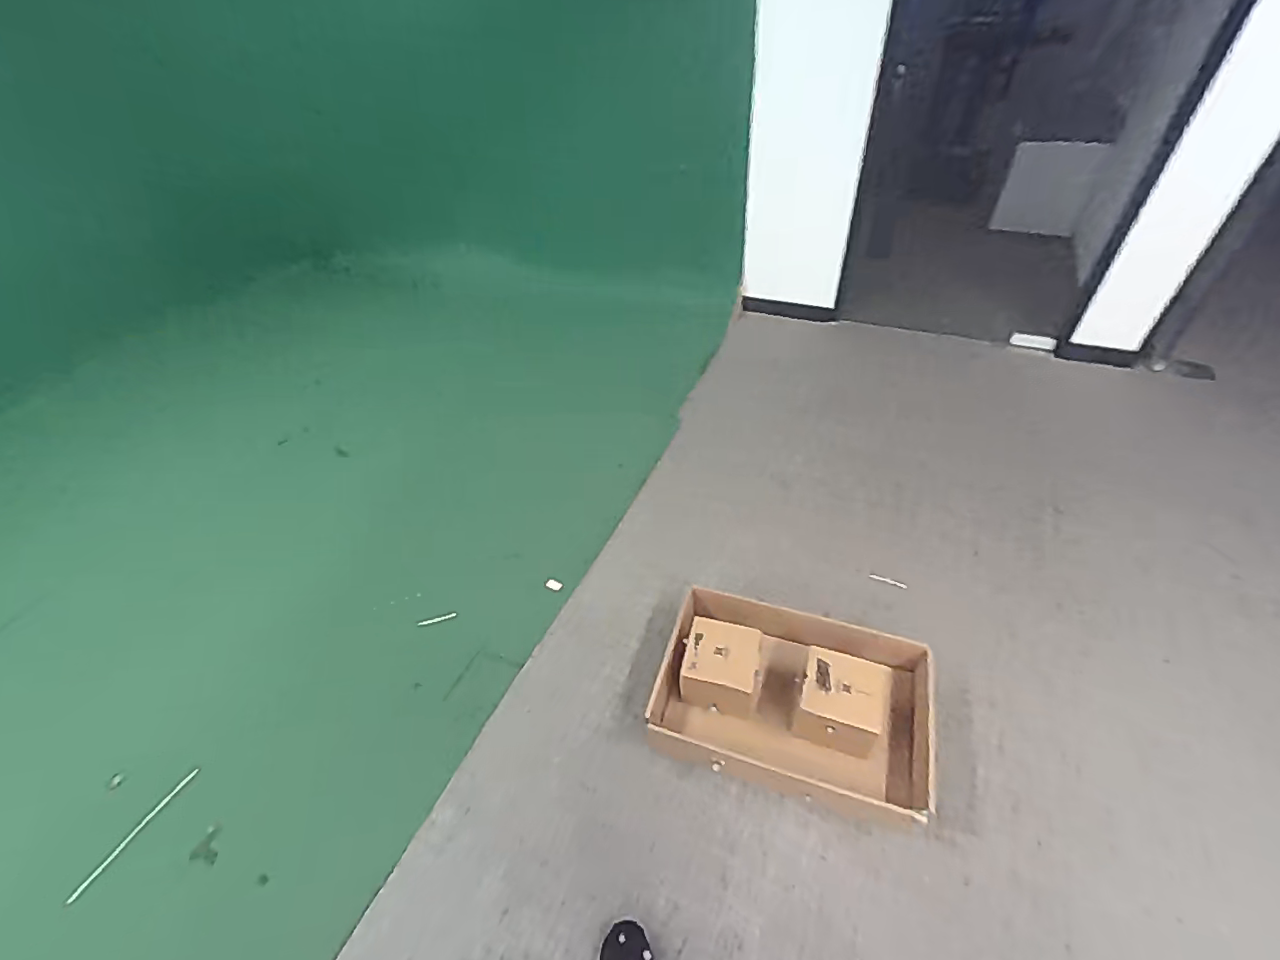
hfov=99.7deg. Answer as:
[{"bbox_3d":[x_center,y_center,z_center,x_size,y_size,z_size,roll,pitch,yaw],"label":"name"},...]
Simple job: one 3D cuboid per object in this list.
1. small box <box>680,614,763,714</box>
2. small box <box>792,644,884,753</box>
[{"bbox_3d":[0.206,0.474,1.381,0.179,0.176,0.168,11,48,14],"label":"small box"},{"bbox_3d":[0.471,0.528,1.300,0.179,0.176,0.168,12,49,18],"label":"small box"}]
